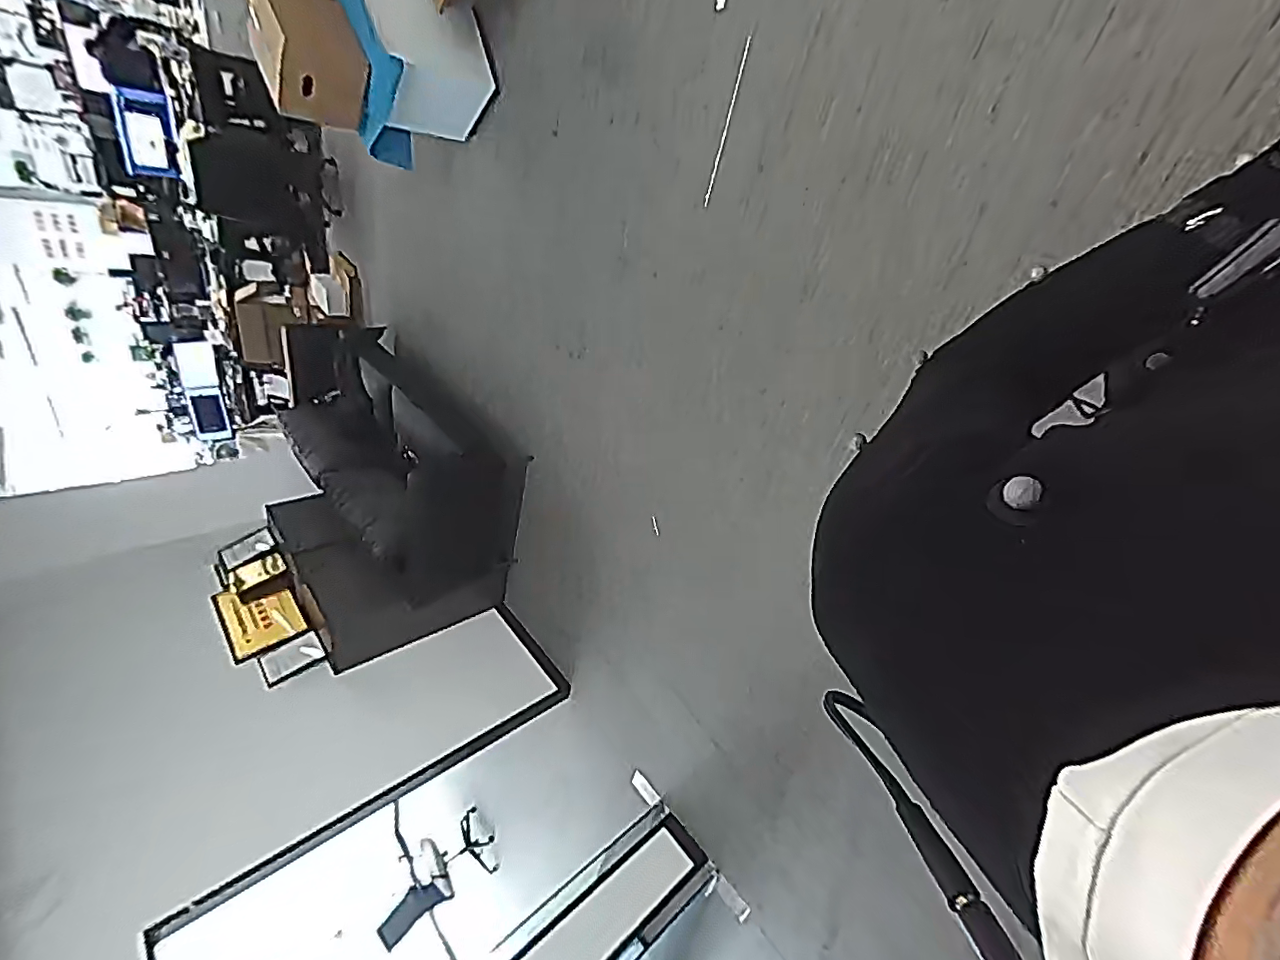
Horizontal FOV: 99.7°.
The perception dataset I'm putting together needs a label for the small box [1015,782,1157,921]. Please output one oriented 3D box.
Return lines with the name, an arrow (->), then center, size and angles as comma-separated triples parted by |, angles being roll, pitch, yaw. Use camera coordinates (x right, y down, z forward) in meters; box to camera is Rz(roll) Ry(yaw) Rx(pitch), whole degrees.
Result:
small box -> 0.999, 0.818, 1.212 | 0.179, 0.176, 0.168 | 40, 130, 33
